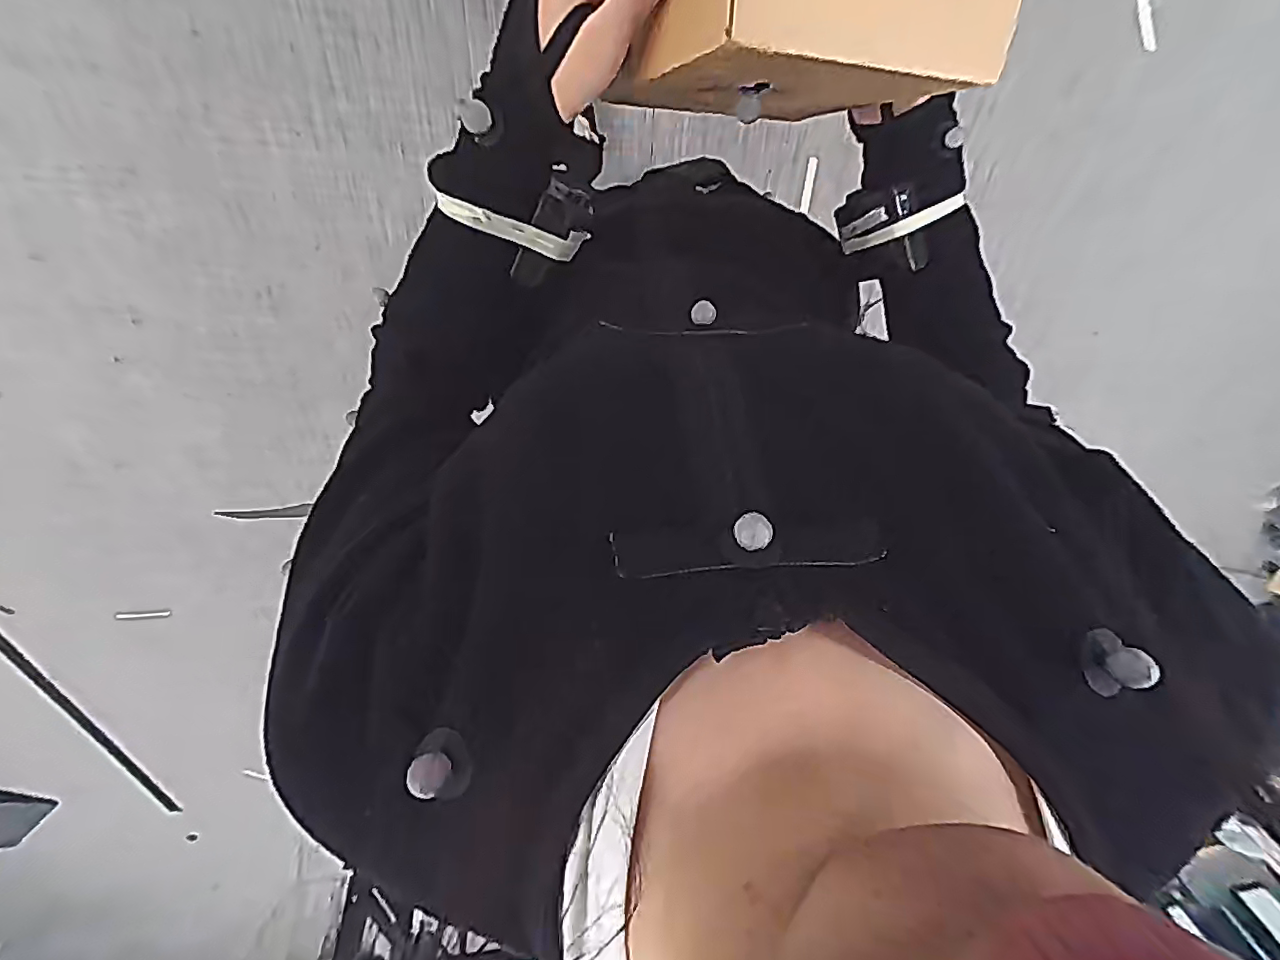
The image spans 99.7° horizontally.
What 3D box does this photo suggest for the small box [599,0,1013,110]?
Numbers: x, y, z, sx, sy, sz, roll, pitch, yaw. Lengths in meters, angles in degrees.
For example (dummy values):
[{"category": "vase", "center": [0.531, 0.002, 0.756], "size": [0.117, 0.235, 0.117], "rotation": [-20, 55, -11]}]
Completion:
[{"category": "small box", "center": [0.080, -0.310, 0.281], "size": [0.168, 0.176, 0.179], "rotation": [-10, 118, -21]}]
